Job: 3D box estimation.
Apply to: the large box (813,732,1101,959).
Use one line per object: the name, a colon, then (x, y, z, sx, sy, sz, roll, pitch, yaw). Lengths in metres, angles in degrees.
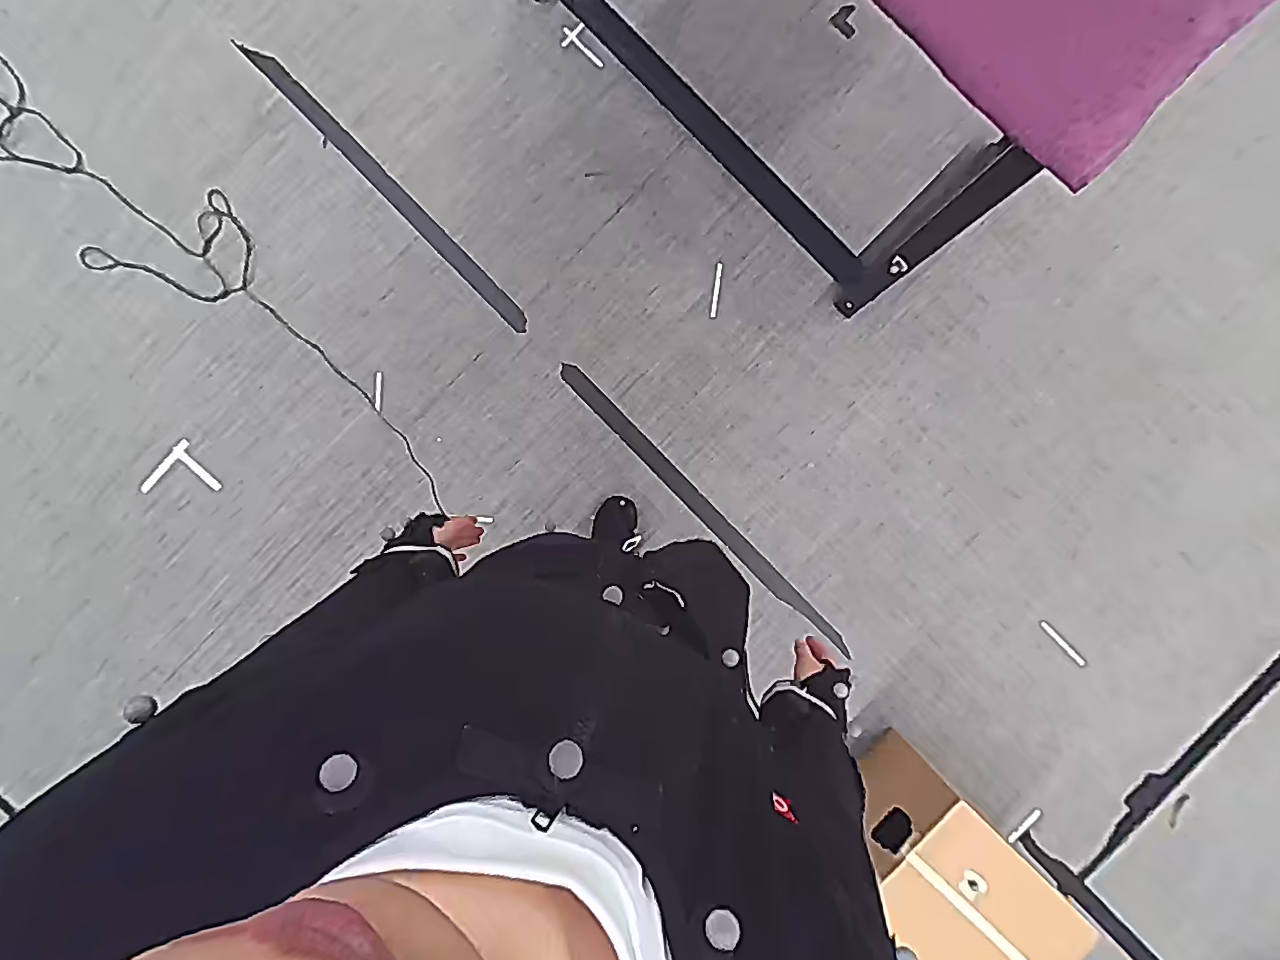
large box: (0.683, 0.884, 1.236, 0.408, 0.320, 0.320, 44, 90, 1)
